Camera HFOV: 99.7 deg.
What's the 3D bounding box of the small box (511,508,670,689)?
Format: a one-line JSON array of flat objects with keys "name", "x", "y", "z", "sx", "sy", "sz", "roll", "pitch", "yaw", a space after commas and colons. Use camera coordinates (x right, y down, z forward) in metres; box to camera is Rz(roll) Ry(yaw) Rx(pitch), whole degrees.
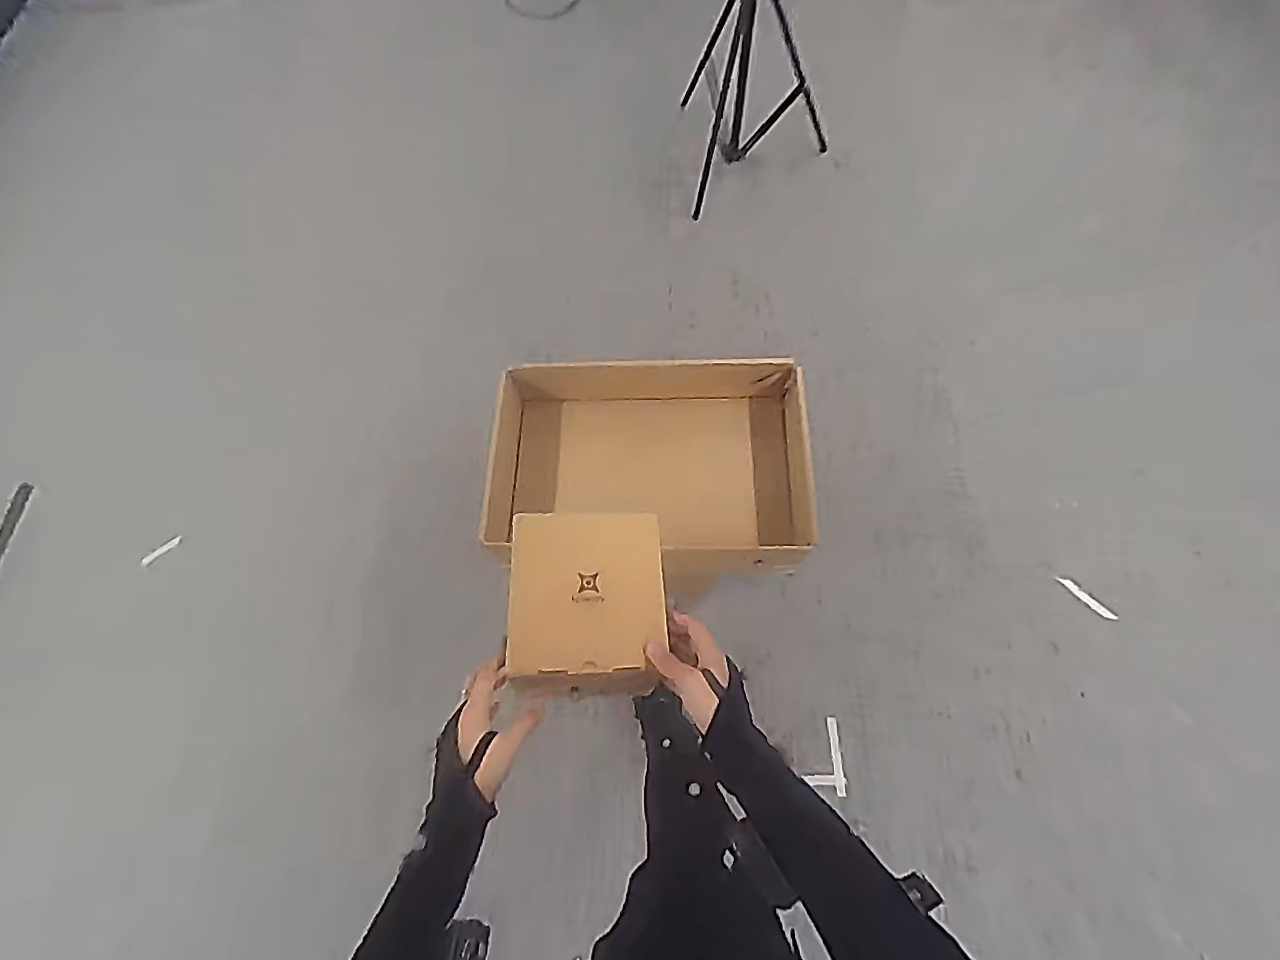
[{"name": "small box", "x": -0.064, "y": 0.147, "z": 0.656, "sx": 0.168, "sy": 0.176, "sz": 0.179, "roll": 0, "pitch": 62, "yaw": -8}]
